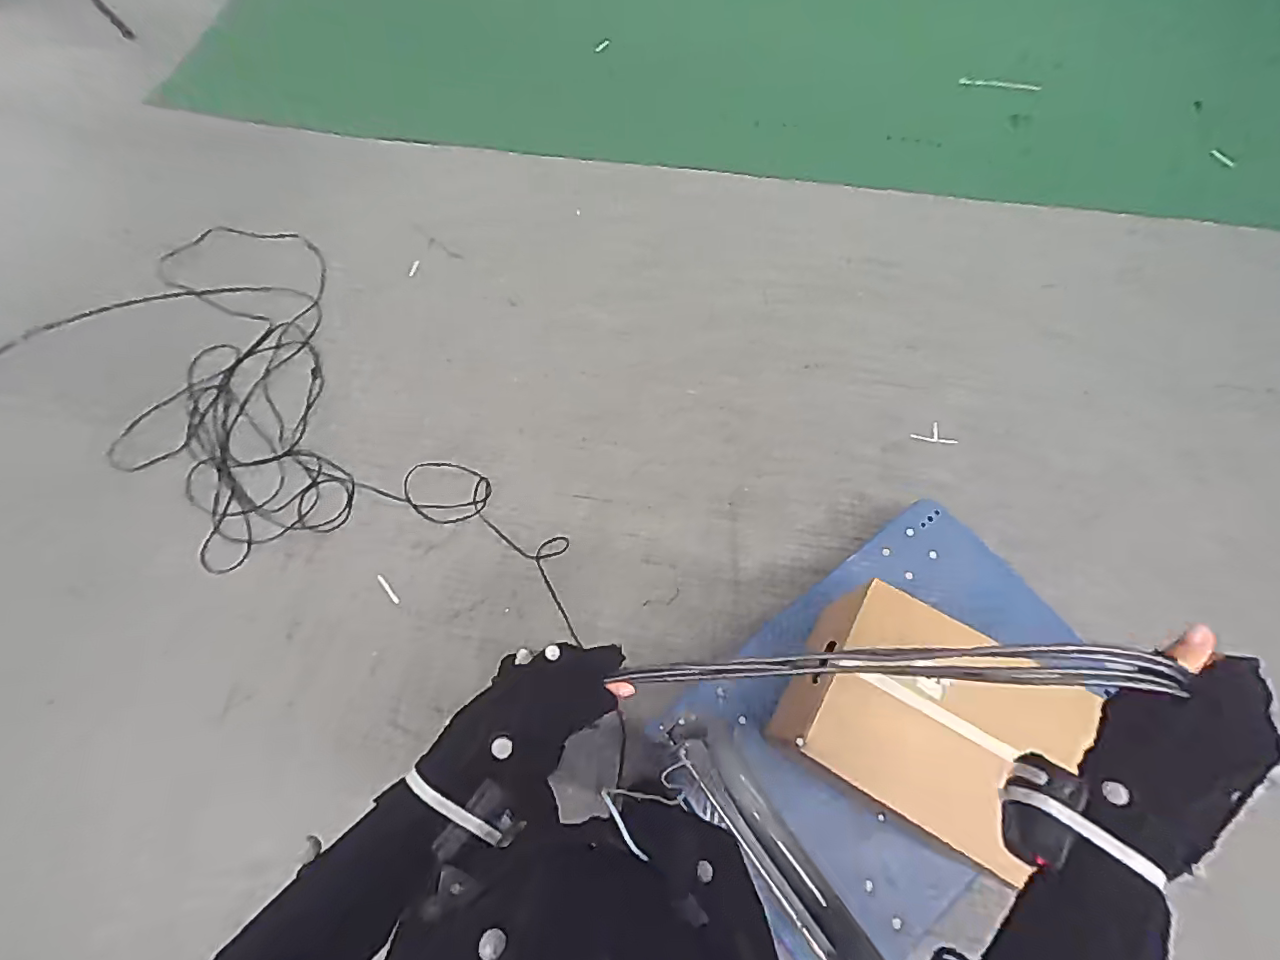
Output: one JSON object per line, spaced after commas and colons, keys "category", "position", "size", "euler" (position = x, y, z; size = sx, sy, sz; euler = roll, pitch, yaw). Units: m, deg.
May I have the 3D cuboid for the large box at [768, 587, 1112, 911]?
{"category": "large box", "position": [0.500, 0.451, 0.979], "size": [0.408, 0.320, 0.320], "euler": [29, 71, 14]}
